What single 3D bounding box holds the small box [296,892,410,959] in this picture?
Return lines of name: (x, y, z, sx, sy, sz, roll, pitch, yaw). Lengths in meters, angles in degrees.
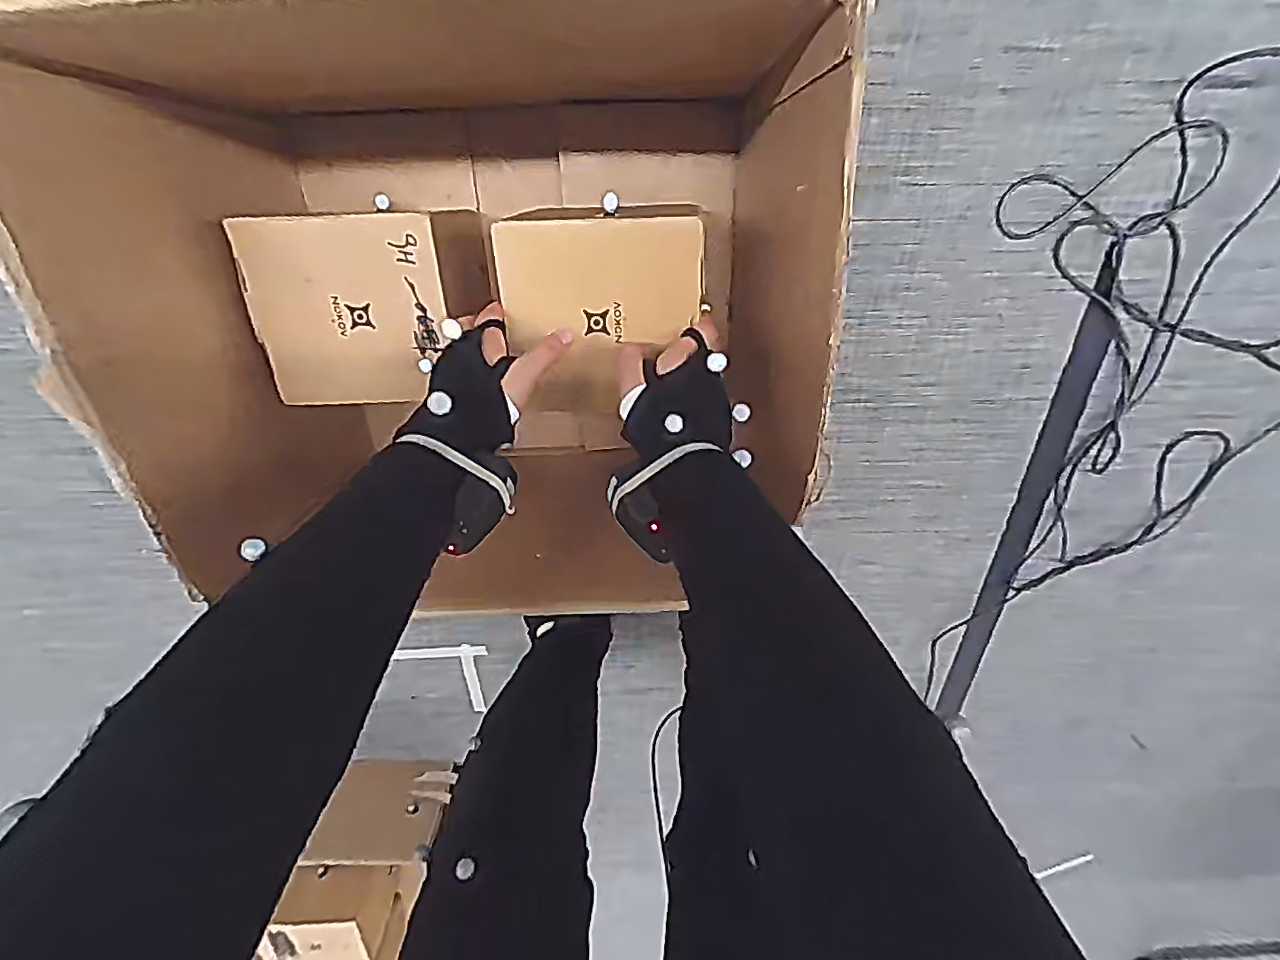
small box: (-0.584, 0.982, 1.105, 0.168, 0.176, 0.179, 1, 115, -5)
